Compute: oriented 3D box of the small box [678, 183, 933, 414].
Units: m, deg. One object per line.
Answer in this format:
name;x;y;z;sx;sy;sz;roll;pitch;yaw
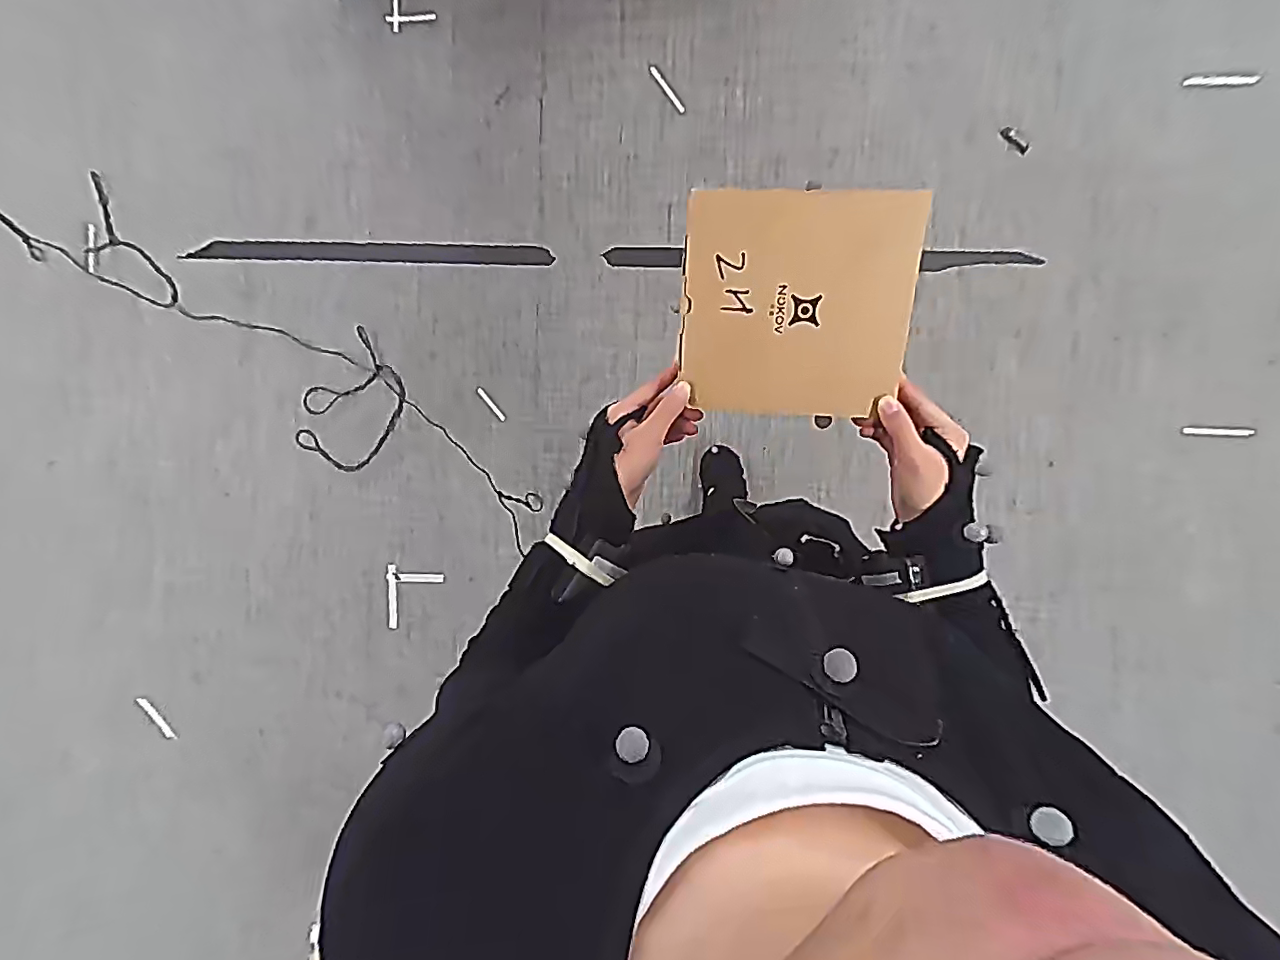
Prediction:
small box;0.131;-0.160;0.494;0.179;0.176;0.168;5;106;7
